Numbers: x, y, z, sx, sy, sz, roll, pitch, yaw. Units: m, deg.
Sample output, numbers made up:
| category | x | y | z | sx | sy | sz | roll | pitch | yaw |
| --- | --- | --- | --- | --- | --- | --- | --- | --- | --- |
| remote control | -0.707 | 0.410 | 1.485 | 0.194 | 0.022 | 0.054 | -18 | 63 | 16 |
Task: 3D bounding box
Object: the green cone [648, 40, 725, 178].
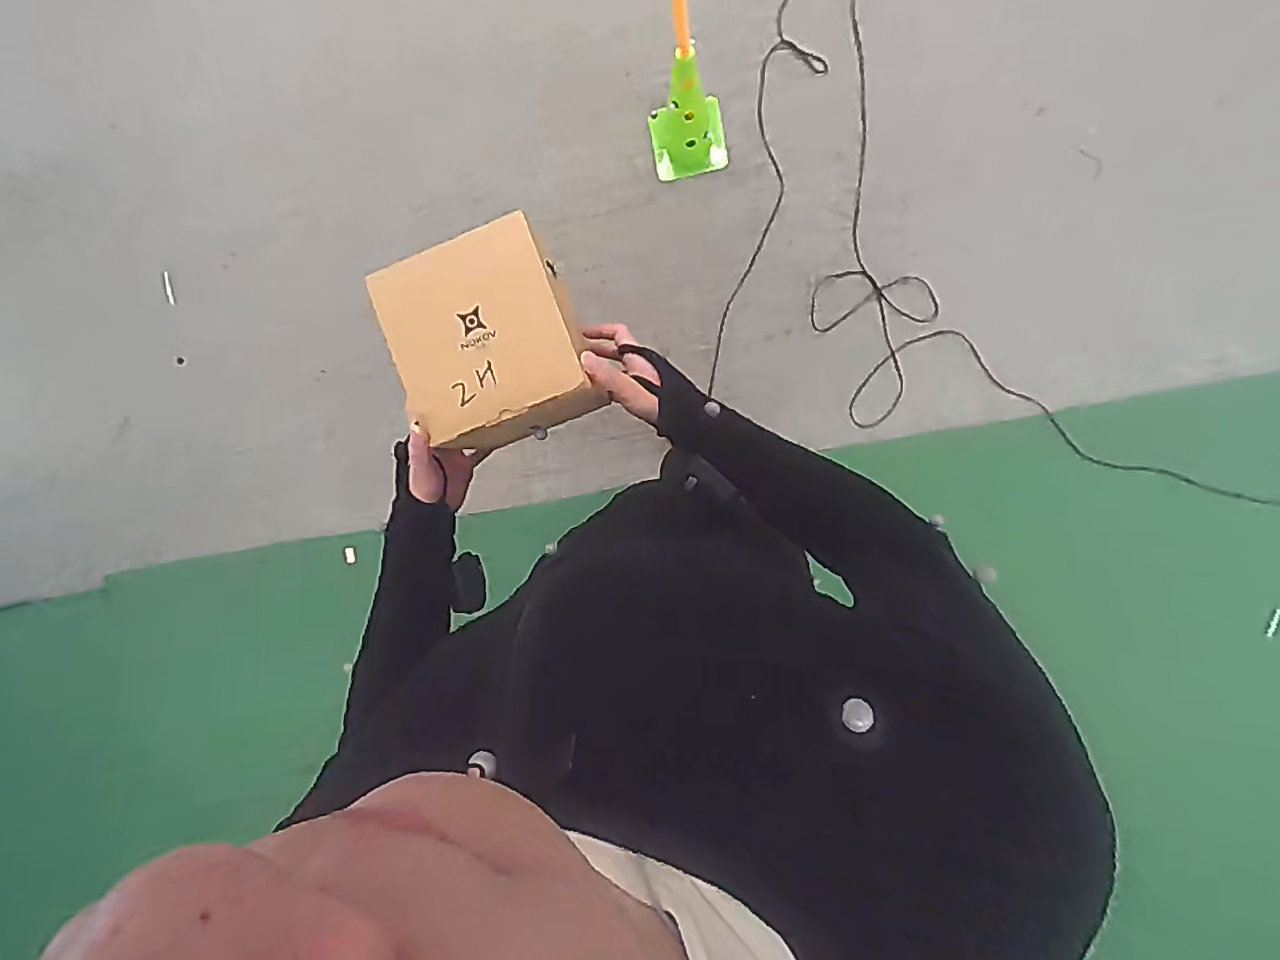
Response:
| category | x | y | z | sx | sy | sz | roll | pitch | yaw |
| --- | --- | --- | --- | --- | --- | --- | --- | --- | --- |
| green cone | 0.118 | -0.958 | 1.365 | 0.202 | 0.368 | 0.200 | -10 | 94 | 5 |
